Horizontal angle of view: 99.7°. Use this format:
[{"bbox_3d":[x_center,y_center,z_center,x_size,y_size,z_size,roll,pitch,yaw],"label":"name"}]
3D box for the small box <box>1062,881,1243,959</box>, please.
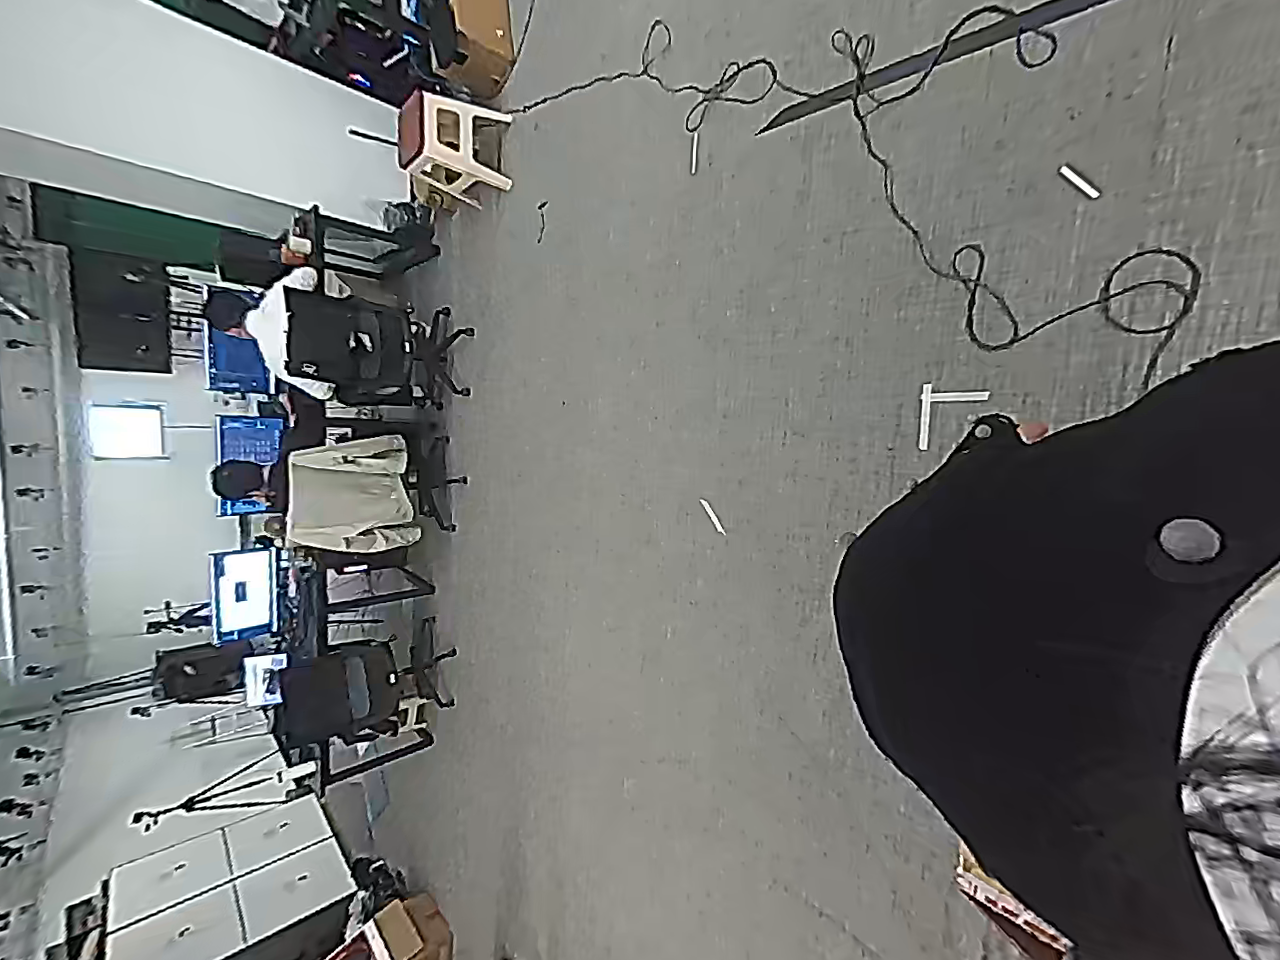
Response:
[{"bbox_3d":[0.568,0.612,0.599,0.168,0.176,0.179,13,99,44],"label":"small box"}]
